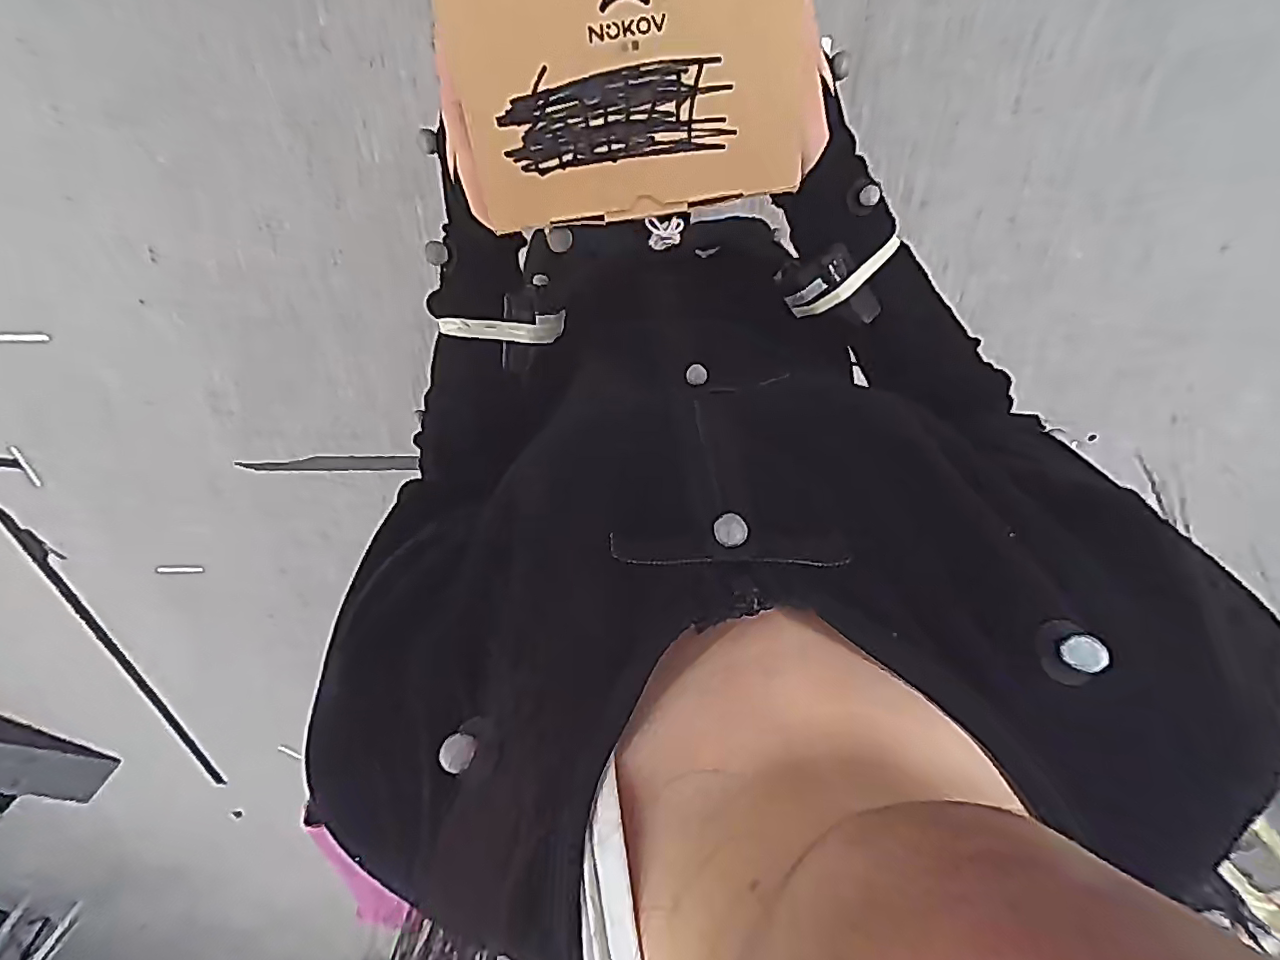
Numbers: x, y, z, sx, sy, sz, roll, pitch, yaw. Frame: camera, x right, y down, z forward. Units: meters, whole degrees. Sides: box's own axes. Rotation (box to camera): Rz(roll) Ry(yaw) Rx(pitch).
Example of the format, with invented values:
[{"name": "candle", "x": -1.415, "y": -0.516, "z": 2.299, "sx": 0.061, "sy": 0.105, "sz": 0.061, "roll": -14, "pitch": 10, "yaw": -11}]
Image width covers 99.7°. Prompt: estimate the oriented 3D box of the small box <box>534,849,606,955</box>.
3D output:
[{"name": "small box", "x": -0.172, "y": 1.067, "z": 1.369, "sx": 0.168, "sy": 0.176, "sz": 0.179, "roll": 0, "pitch": 122, "yaw": -3}]
